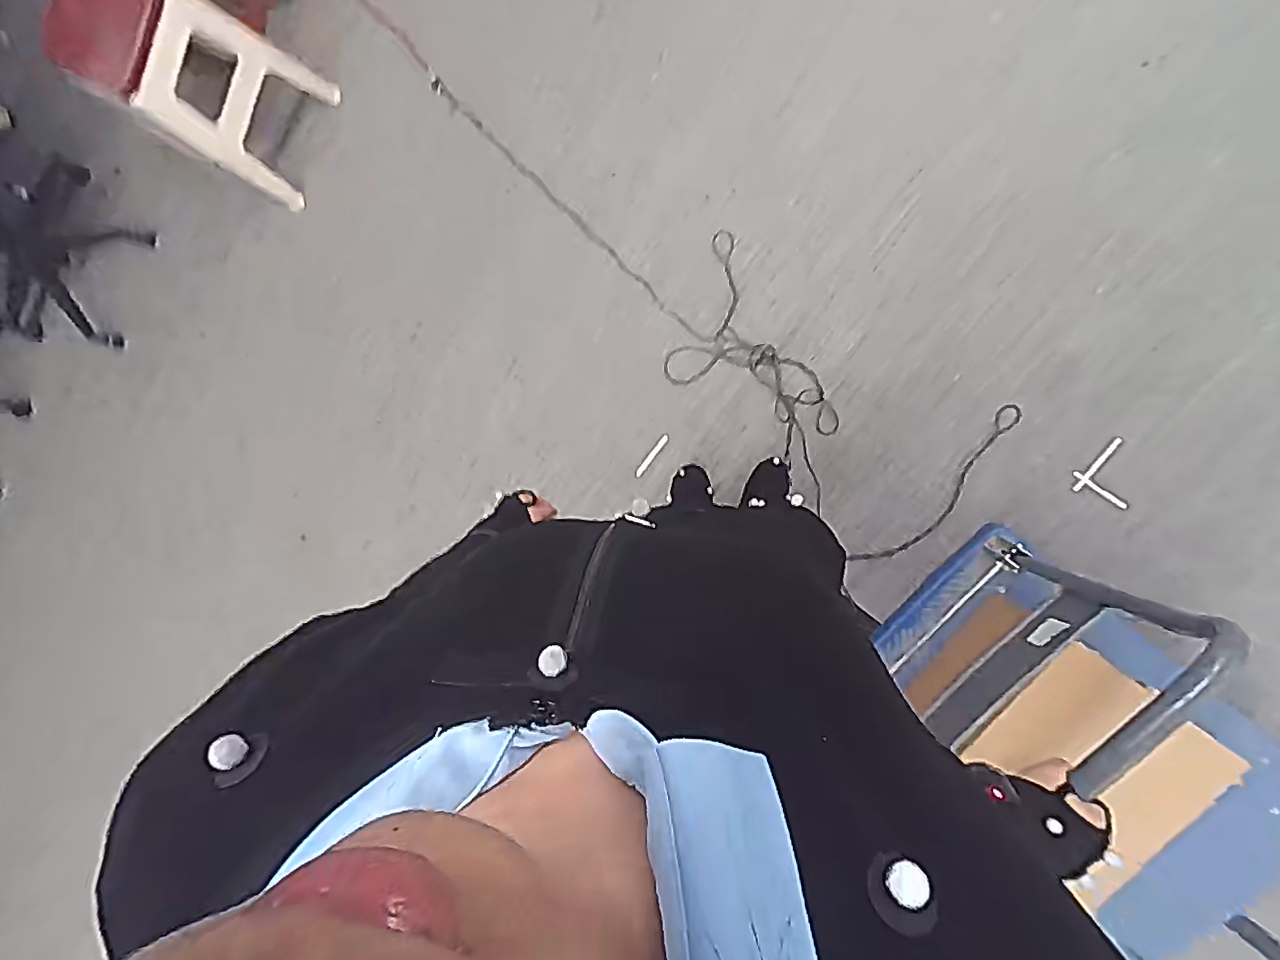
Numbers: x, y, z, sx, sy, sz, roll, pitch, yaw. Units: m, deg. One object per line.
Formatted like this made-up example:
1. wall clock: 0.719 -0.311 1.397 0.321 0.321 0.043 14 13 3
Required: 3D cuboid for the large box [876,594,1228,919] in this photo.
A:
1. large box: 0.746 0.500 1.062 0.320 0.320 0.408 37 100 9
